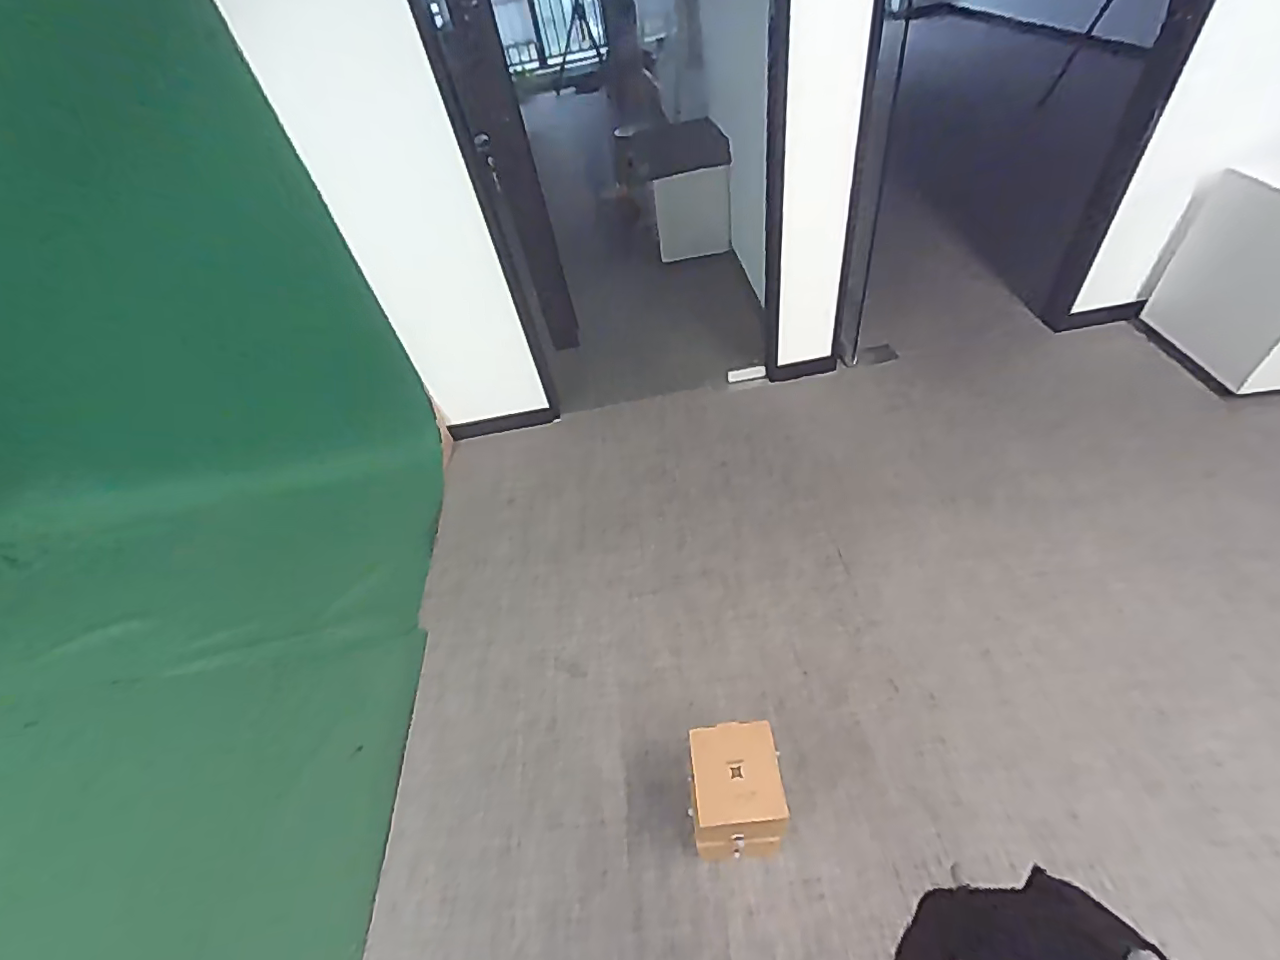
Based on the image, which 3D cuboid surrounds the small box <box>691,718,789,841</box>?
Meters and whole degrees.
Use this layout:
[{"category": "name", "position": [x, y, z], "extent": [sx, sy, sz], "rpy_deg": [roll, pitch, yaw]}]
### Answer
[{"category": "small box", "position": [0.199, 0.611, 1.101], "extent": [0.168, 0.176, 0.179], "rpy_deg": [-10, 46, 5]}]

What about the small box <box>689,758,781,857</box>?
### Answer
[{"category": "small box", "position": [0.209, 0.729, 1.211], "extent": [0.179, 0.176, 0.168], "rpy_deg": [-9, 46, 5]}]
